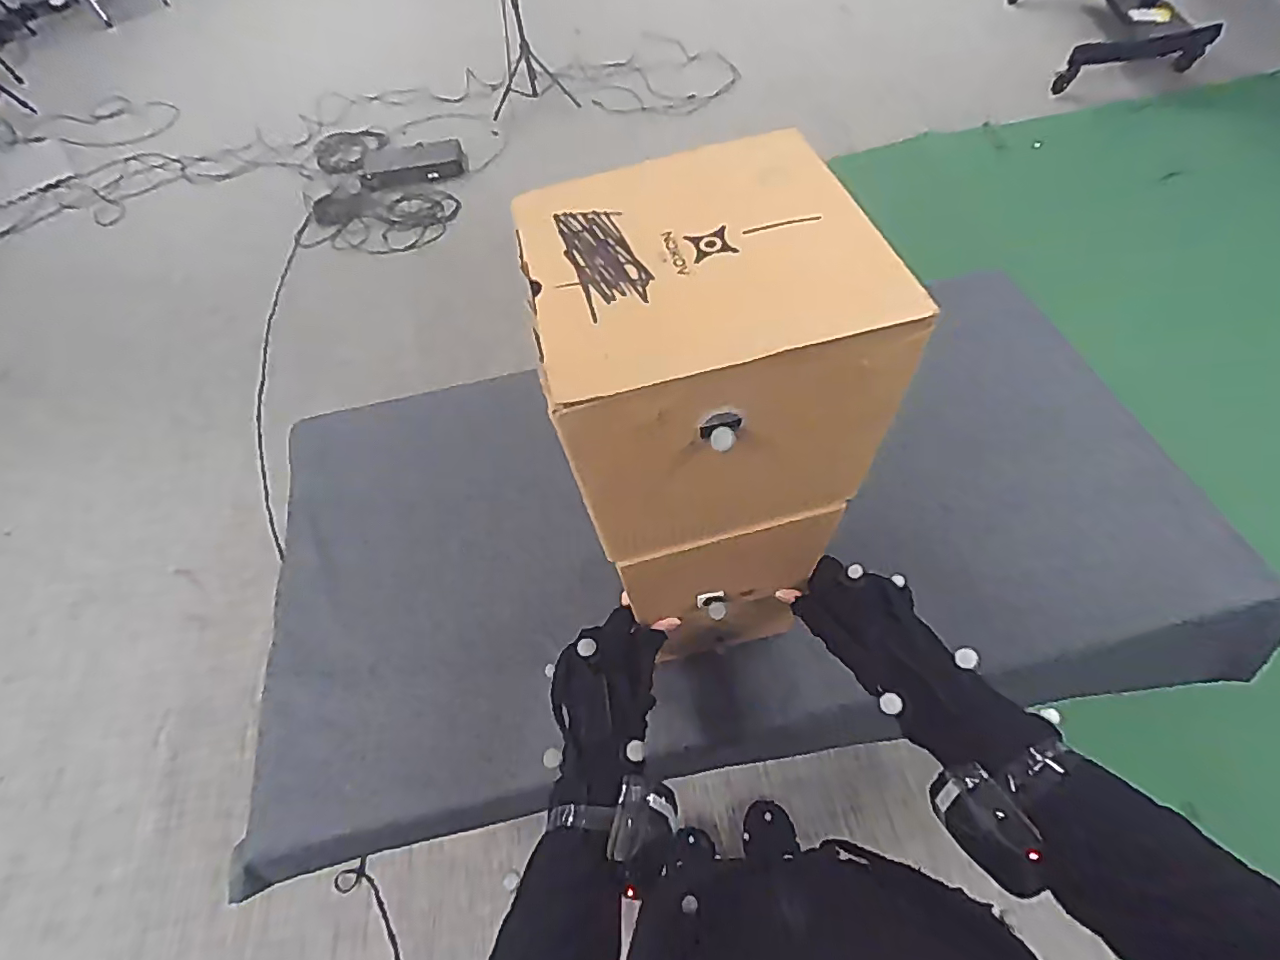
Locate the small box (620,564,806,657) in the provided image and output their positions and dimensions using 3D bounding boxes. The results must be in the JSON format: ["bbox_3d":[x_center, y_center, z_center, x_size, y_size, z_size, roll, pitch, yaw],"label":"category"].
[{"bbox_3d":[0.066,0.090,0.626,0.179,0.176,0.168,-13,59,-3],"label":"small box"}]

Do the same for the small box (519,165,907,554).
[{"bbox_3d":[0.035,-0.067,0.361,0.179,0.176,0.168,-14,60,-2],"label":"small box"}]

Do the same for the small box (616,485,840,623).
[{"bbox_3d":[0.051,0.007,0.488,0.168,0.176,0.179,-16,60,-2],"label":"small box"}]
